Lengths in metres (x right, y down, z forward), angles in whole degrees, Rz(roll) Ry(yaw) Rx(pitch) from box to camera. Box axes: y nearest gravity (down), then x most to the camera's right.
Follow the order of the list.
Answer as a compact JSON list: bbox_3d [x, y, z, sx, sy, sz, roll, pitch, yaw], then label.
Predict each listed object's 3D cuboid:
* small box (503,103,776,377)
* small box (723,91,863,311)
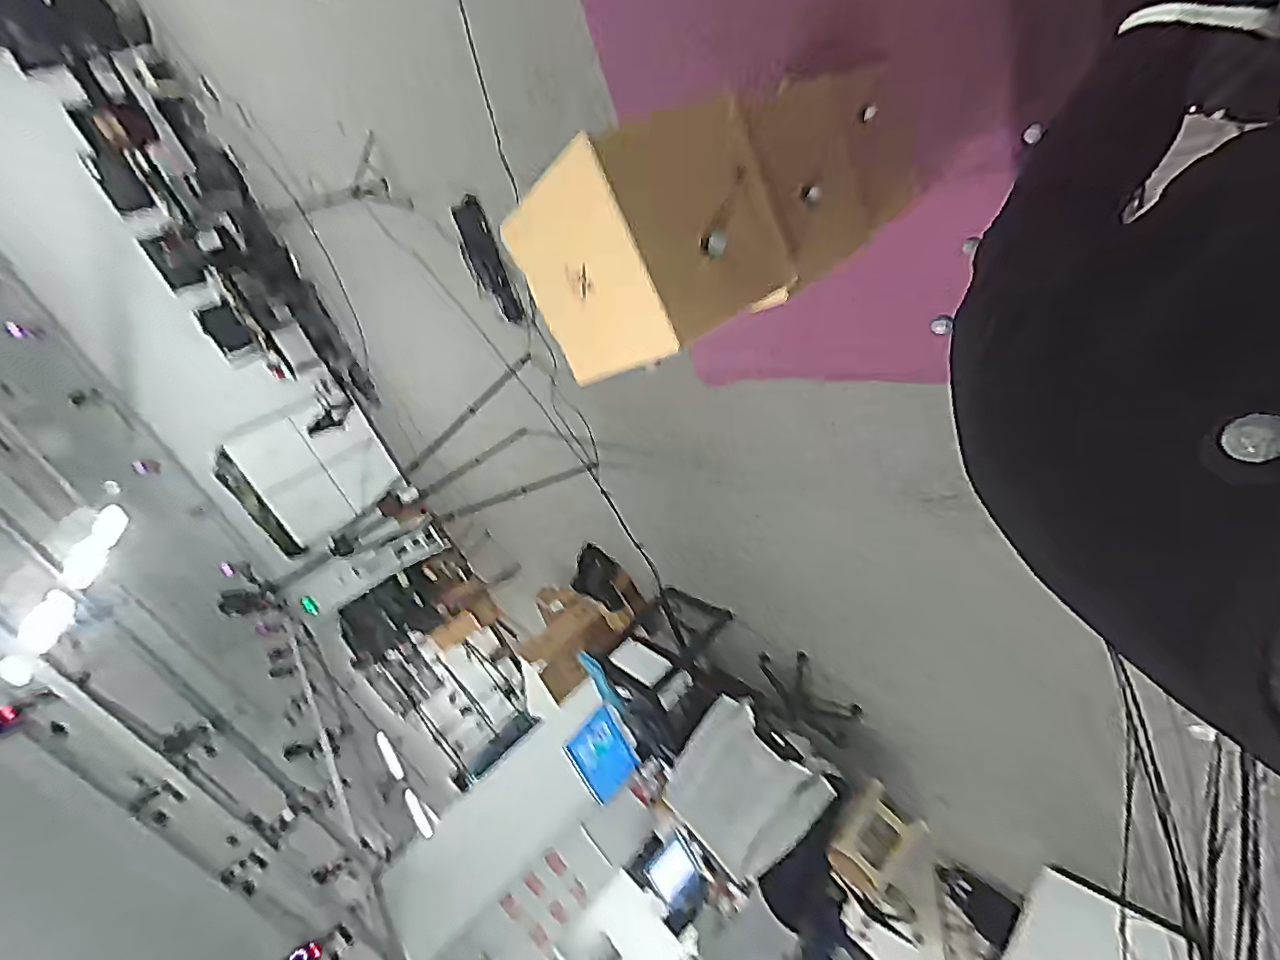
[{"bbox_3d":[0.006,-0.219,0.517,0.179,0.176,0.168,1,122,57],"label":"small box"},{"bbox_3d":[0.118,-0.299,0.604,0.168,0.176,0.179,6,126,55],"label":"small box"}]
